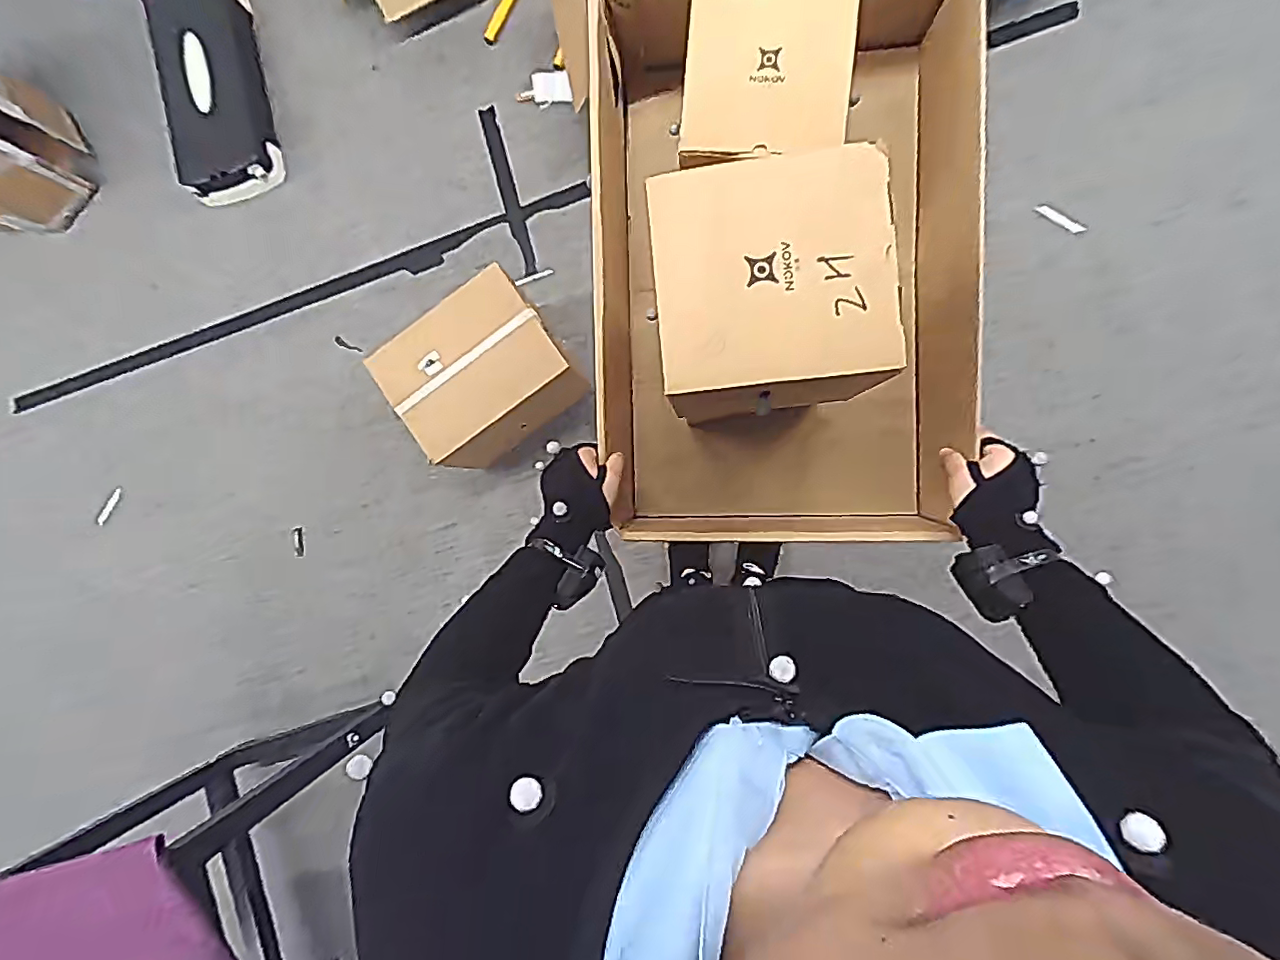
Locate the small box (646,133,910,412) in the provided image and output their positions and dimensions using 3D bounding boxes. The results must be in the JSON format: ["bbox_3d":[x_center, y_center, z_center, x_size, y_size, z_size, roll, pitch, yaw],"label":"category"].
[{"bbox_3d":[0.106,-0.154,0.464,0.179,0.176,0.168,-5,91,6],"label":"small box"}]

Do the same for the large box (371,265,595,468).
[{"bbox_3d":[-0.386,-0.268,1.416,0.408,0.320,0.320,-36,85,5],"label":"large box"}]
